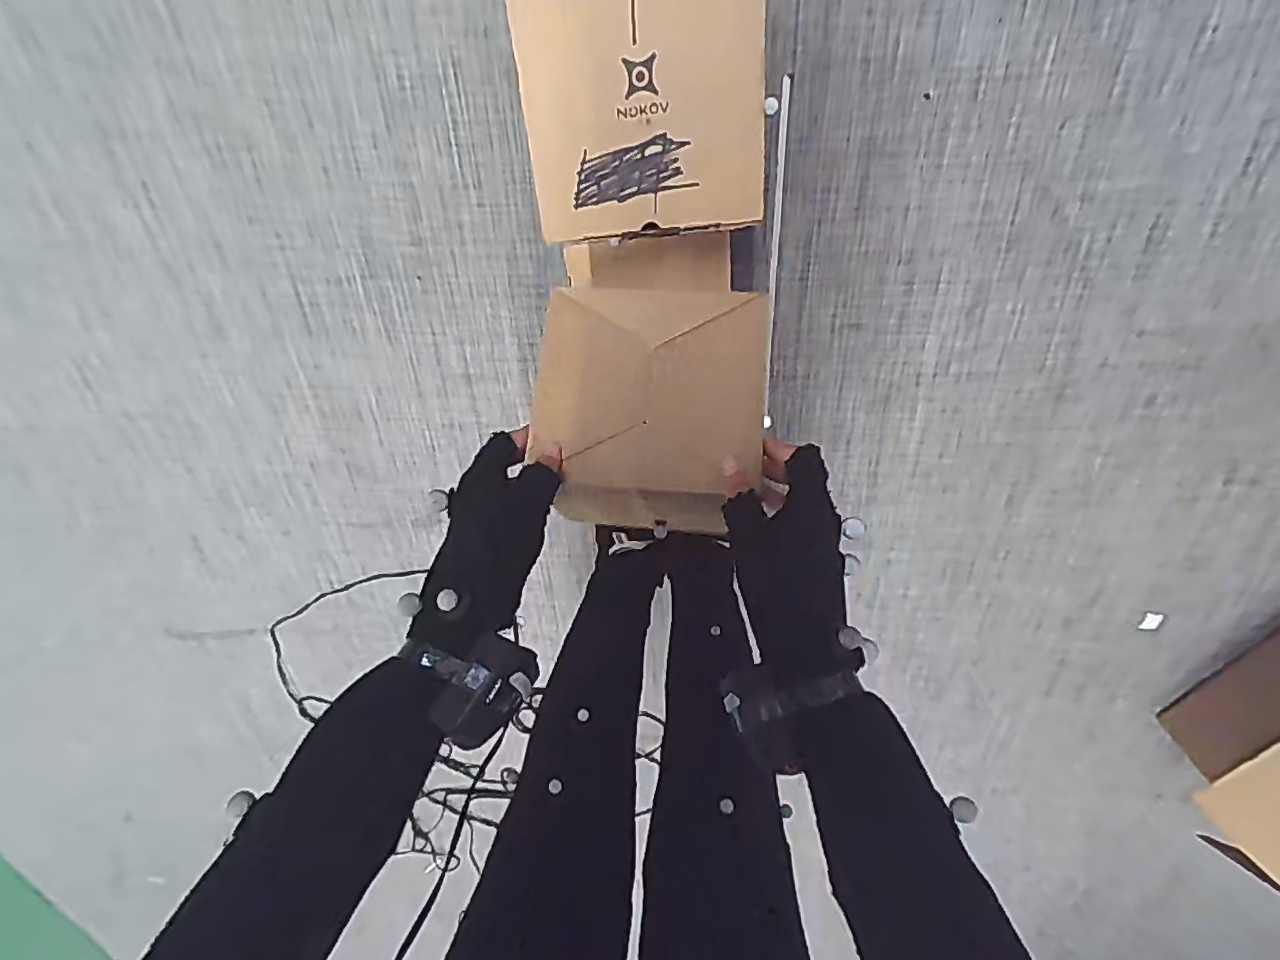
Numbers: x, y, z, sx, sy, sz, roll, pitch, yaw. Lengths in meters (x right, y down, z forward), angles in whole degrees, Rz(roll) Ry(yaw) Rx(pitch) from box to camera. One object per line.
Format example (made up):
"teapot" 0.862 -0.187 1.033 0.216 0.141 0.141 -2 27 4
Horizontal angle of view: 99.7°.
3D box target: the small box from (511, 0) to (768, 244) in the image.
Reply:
"small box" 0.012 -0.295 0.432 0.168 0.176 0.179 -1 116 8

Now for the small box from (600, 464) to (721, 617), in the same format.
"small box" 0.023 0.094 0.860 0.168 0.176 0.179 2 122 -5
